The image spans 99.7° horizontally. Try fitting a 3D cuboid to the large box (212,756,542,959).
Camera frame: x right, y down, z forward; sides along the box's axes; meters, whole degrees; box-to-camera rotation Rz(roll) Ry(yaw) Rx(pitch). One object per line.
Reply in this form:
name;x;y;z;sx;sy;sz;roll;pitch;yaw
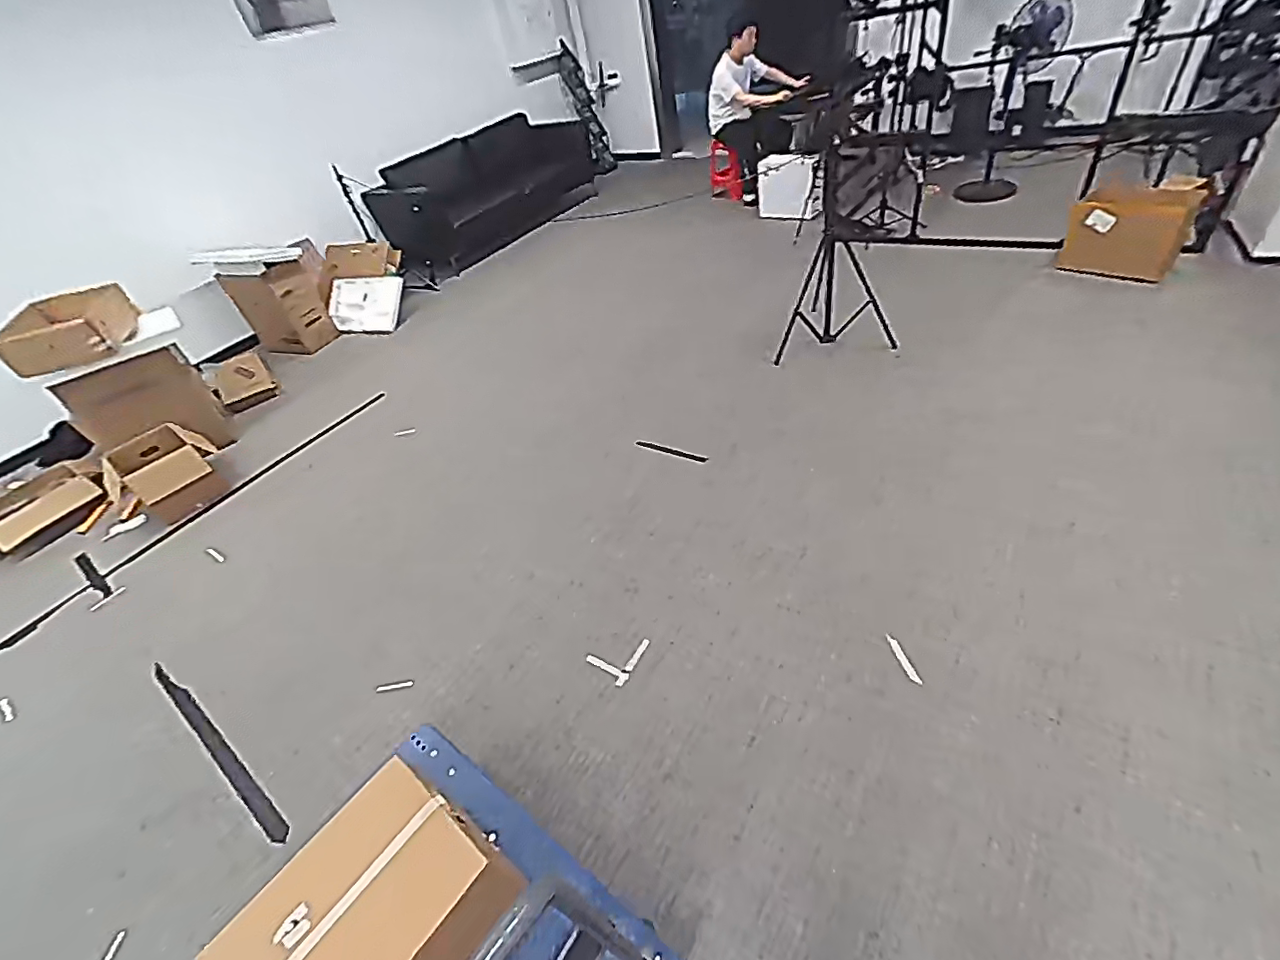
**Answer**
large box;-0.462;0.839;1.028;0.320;0.320;0.408;21;53;35
